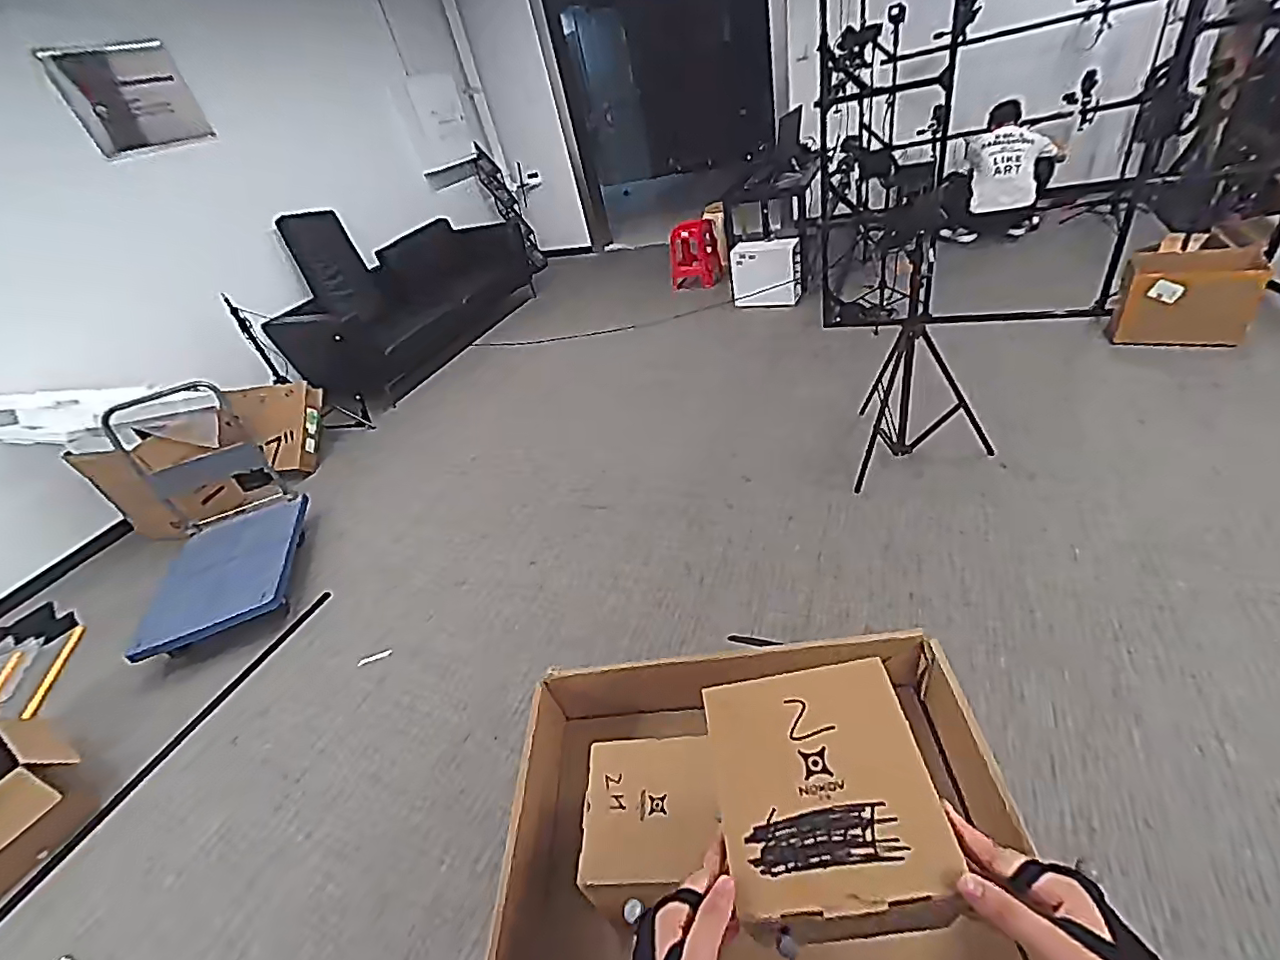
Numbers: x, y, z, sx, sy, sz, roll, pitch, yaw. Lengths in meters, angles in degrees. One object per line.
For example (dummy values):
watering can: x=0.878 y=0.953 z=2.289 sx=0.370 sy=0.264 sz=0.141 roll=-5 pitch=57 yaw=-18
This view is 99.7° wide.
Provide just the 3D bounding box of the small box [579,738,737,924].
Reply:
small box: x=0.034 y=0.468 z=0.723 sx=0.179 sy=0.176 sz=0.168 roll=-8 pitch=37 yaw=9
